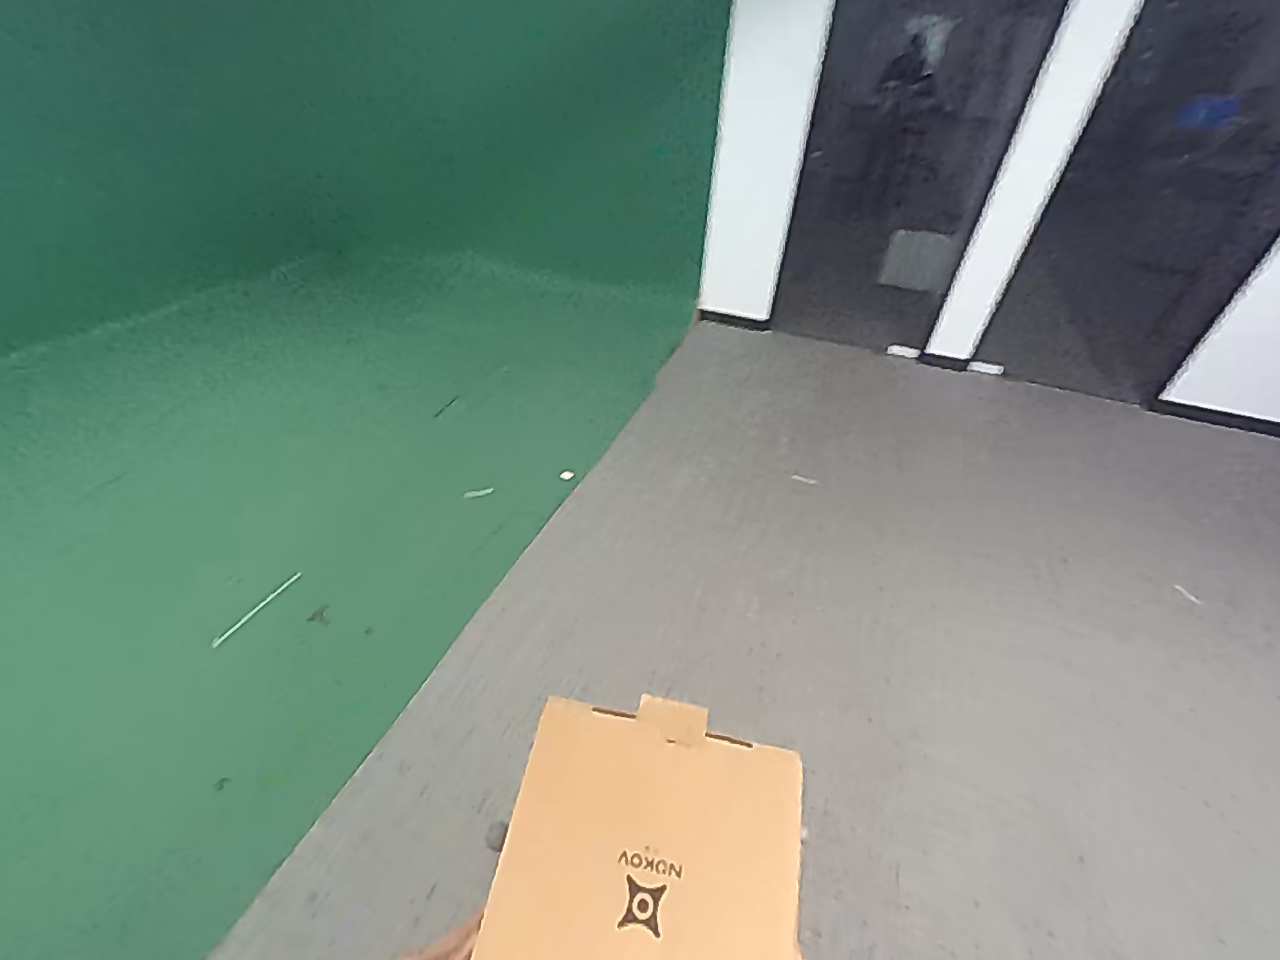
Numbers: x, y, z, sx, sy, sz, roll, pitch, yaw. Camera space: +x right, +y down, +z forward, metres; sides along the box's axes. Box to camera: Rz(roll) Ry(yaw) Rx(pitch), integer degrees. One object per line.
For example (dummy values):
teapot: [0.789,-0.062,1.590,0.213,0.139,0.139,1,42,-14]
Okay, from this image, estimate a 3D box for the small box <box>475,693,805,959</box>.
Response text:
small box: [0.002,0.266,0.359,0.168,0.176,0.179,11,55,4]
